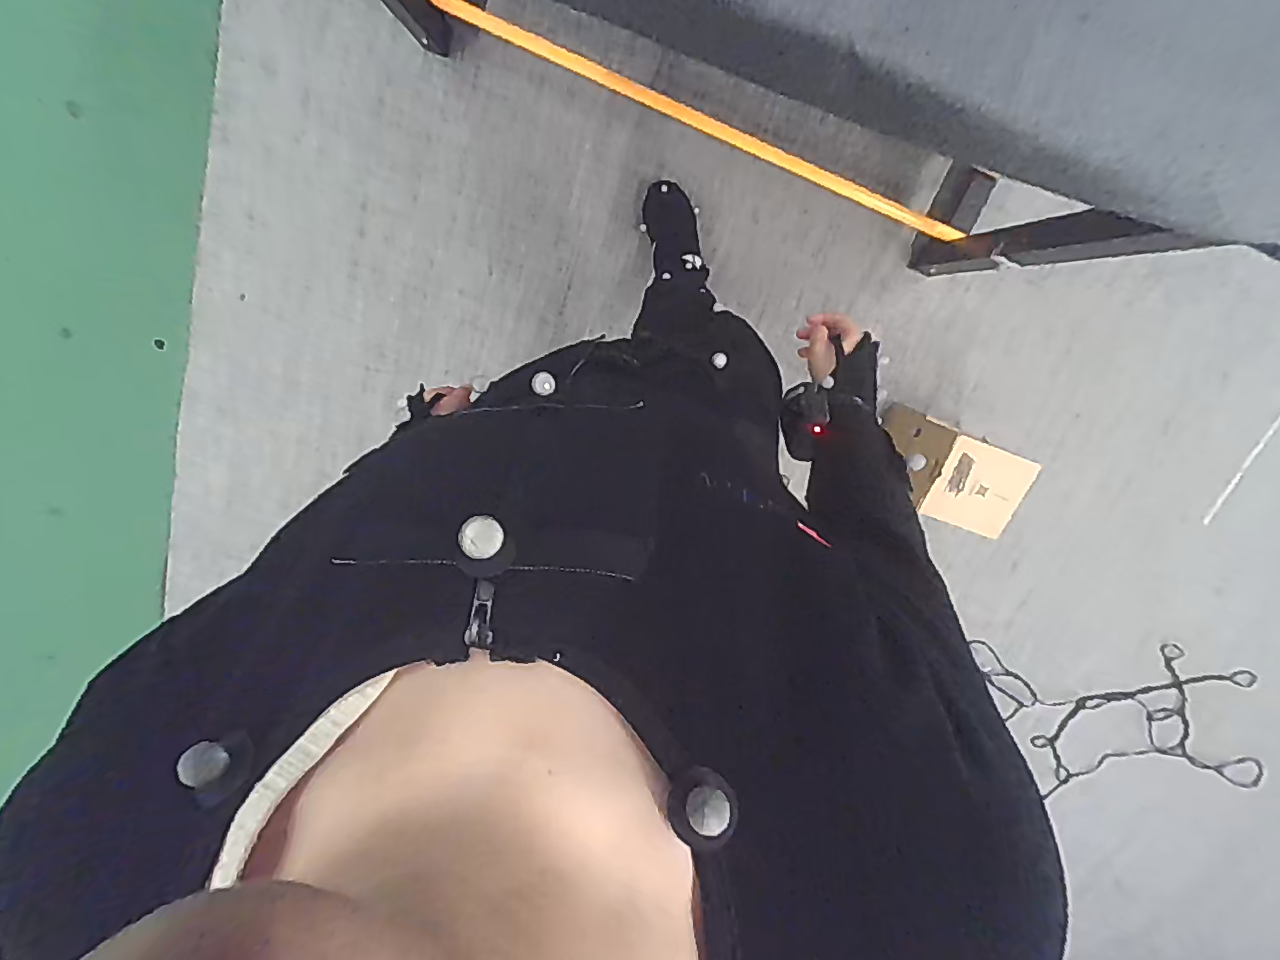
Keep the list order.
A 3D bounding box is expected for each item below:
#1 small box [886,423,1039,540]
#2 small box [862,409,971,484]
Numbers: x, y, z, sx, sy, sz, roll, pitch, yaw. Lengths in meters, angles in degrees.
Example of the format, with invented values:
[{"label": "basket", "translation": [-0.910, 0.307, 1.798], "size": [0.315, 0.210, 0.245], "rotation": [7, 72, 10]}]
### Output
[{"label": "small box", "translation": [0.638, -0.006, 1.097], "size": [0.179, 0.176, 0.168], "rotation": [19, 107, -5]}, {"label": "small box", "translation": [0.654, -0.054, 1.253], "size": [0.179, 0.176, 0.168], "rotation": [21, 106, -6]}]
